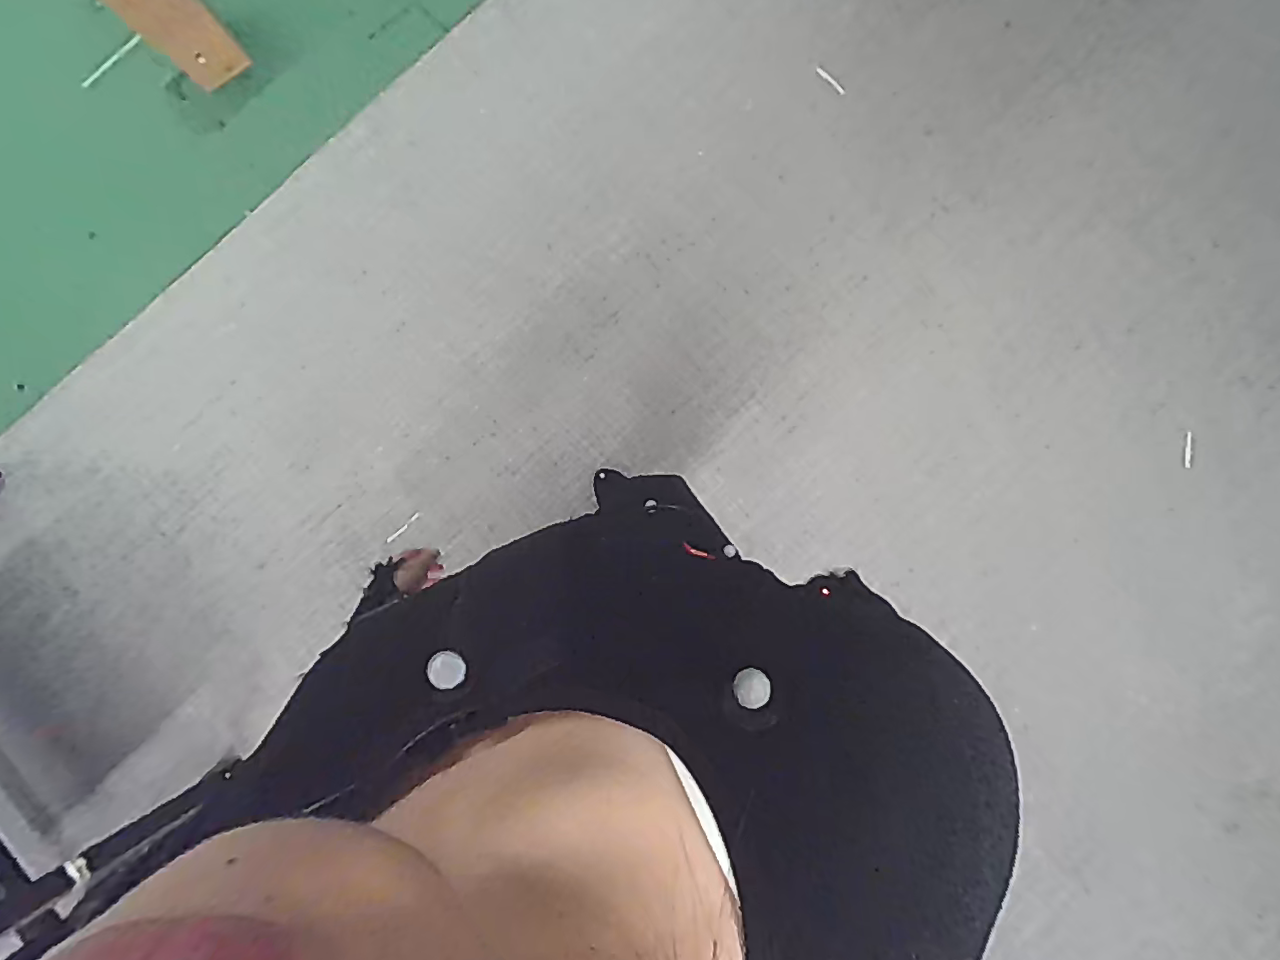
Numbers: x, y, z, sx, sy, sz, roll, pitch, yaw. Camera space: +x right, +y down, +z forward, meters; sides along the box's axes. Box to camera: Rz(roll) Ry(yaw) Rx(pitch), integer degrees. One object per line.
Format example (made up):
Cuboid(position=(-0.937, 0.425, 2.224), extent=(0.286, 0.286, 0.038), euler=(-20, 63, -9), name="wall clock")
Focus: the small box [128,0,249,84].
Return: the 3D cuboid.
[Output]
Cuboid(position=(-1.255, -1.262, 1.514), extent=(0.168, 0.176, 0.179), euler=(-35, 86, -1), name="small box")
